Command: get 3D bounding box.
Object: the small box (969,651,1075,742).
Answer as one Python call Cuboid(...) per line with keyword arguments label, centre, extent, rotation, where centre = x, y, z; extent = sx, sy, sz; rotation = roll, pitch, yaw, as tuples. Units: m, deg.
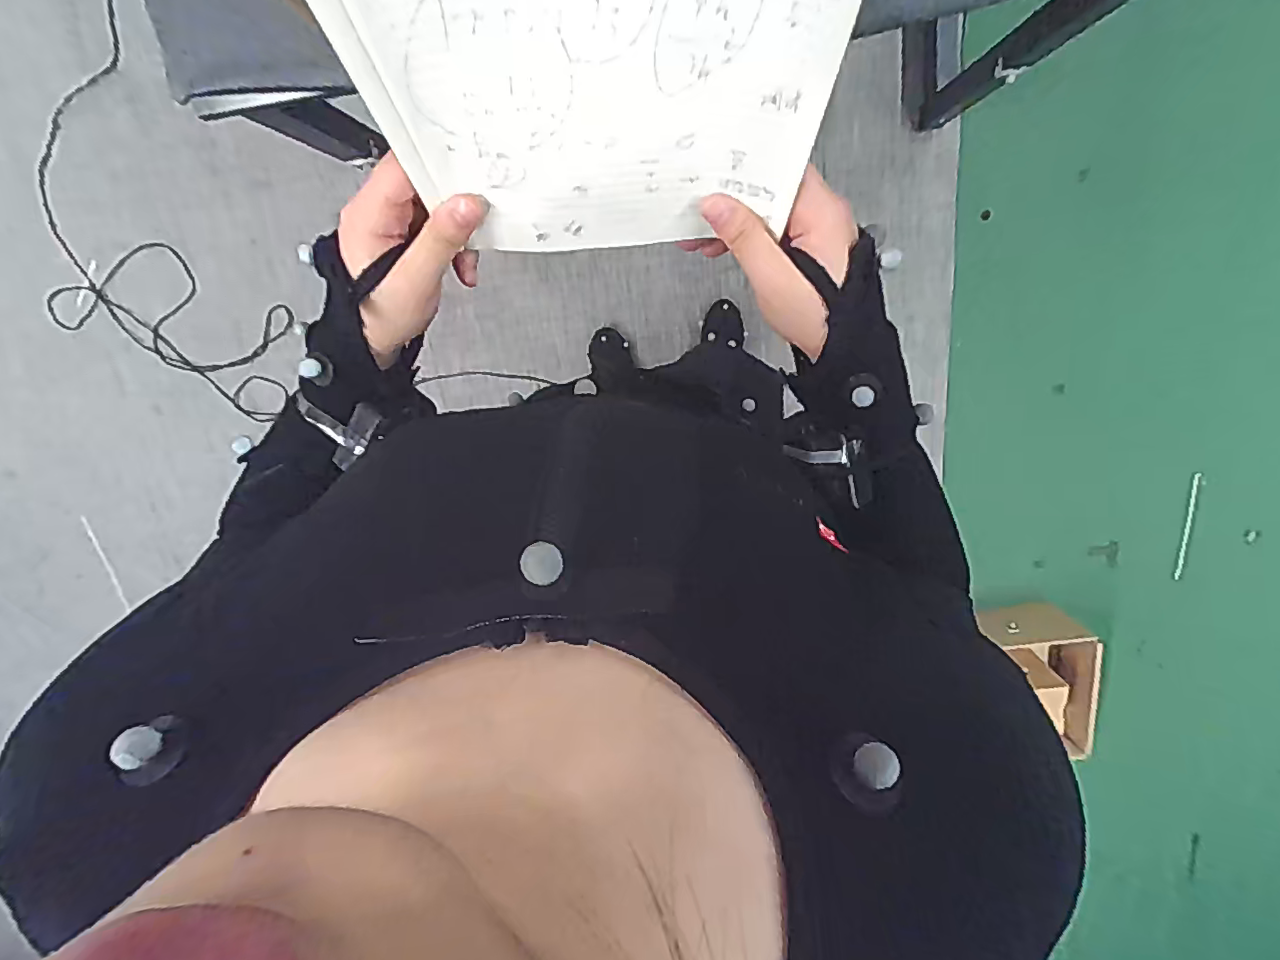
Cuboid(label="small box", centre=(1.054, 0.596, 1.505), extent=(0.179, 0.176, 0.168), rotation=(-7, 108, 6))
